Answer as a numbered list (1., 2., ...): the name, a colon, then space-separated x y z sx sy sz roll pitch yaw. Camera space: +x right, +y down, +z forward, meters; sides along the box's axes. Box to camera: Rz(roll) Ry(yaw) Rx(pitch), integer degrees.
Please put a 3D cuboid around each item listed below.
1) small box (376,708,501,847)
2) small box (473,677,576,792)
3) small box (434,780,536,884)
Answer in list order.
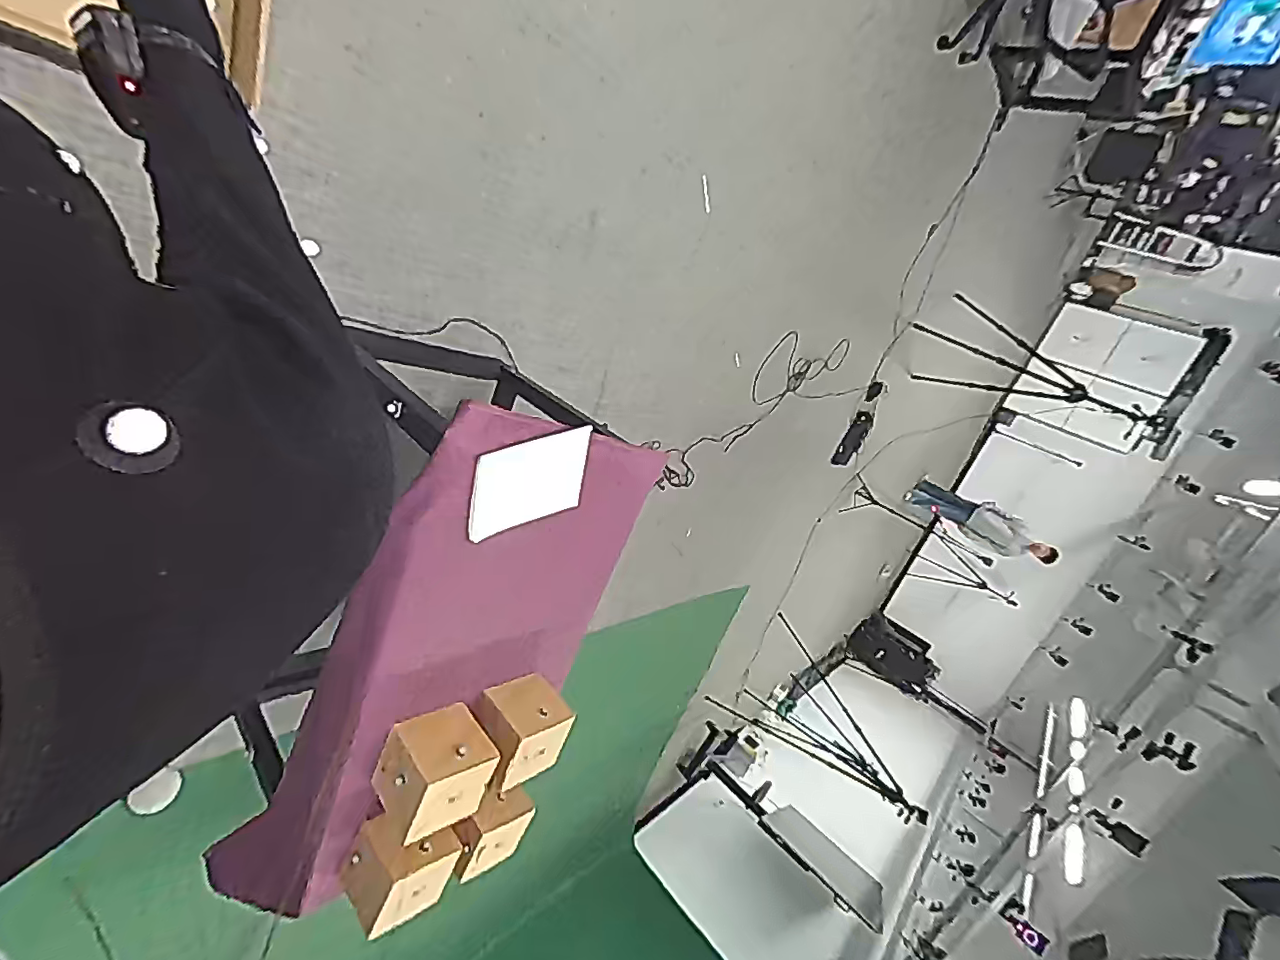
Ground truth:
1. small box: -0.443 0.633 1.176 0.179 0.176 0.168 7 112 -53
2. small box: -0.298 0.621 1.347 0.179 0.176 0.168 3 115 -52
3. small box: -0.415 0.899 1.431 0.179 0.176 0.168 9 110 -55
